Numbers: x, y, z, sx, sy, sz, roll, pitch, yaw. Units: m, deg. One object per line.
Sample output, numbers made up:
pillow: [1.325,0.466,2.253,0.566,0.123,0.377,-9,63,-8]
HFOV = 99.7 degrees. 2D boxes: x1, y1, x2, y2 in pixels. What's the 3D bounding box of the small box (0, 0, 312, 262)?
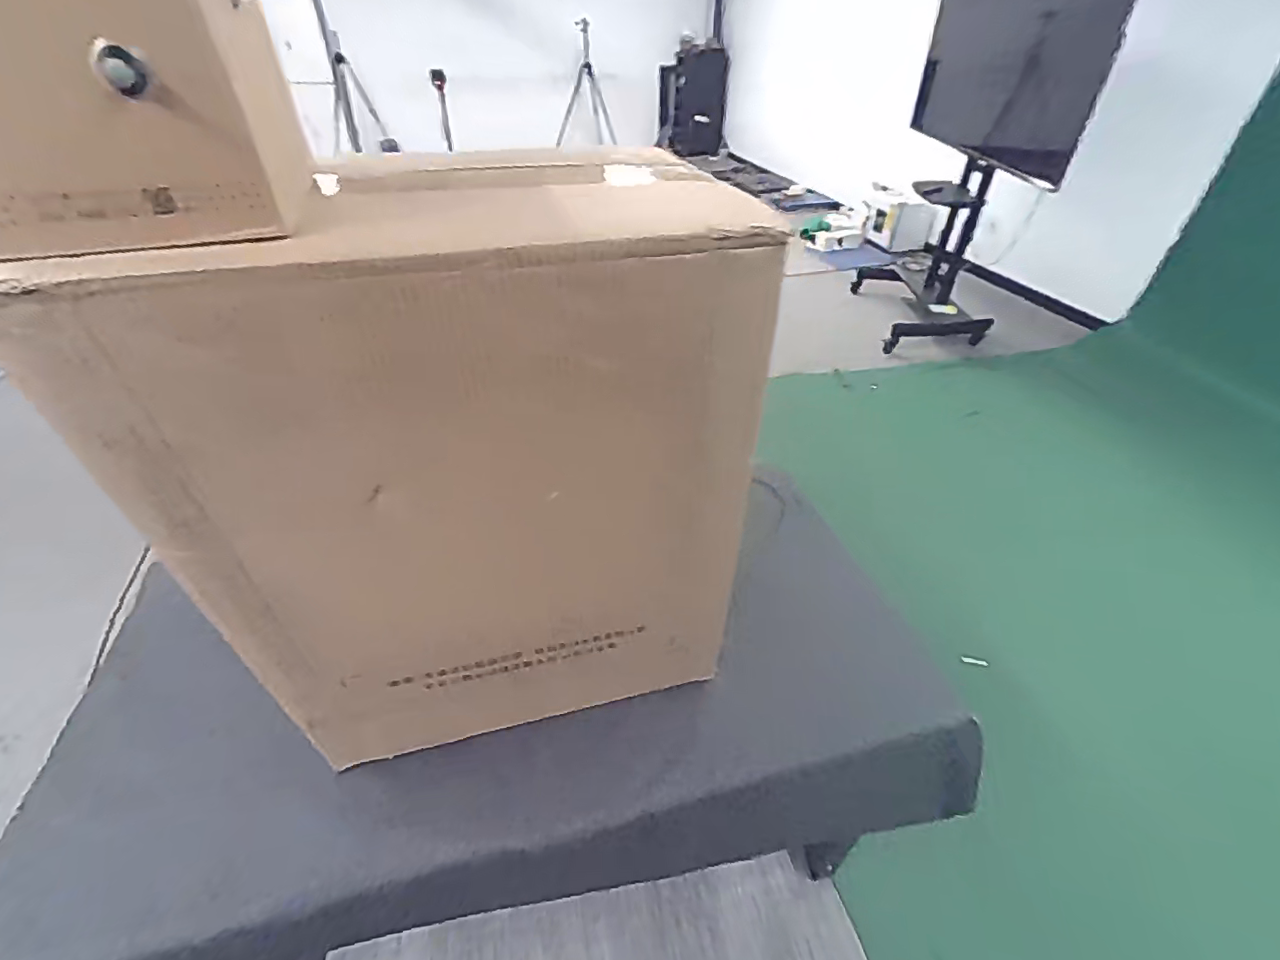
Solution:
small box: [-0.336,-0.248,0.347,0.168,0.176,0.179,-12,42,-15]
